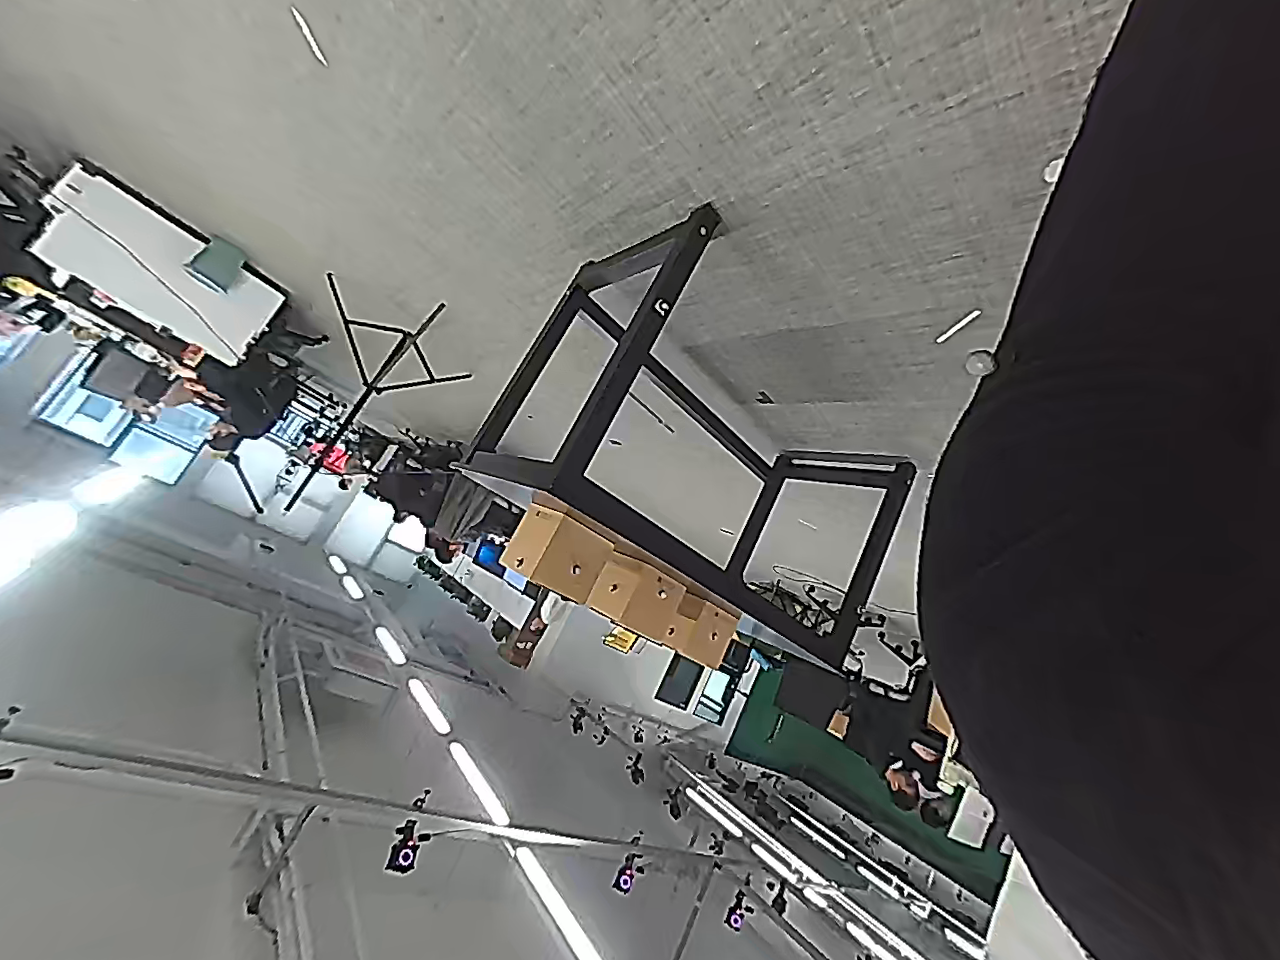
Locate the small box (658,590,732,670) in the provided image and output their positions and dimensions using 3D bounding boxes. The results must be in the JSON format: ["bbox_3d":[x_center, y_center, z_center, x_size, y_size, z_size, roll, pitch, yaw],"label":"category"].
[{"bbox_3d":[0.156,0.440,1.625,0.168,0.176,0.179,37,164,-34],"label":"small box"}]

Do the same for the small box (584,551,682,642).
[{"bbox_3d":[-0.016,0.310,1.470,0.168,0.176,0.179,36,164,-34],"label":"small box"}]

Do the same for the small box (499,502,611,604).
[{"bbox_3d":[-0.202,0.172,1.310,0.179,0.176,0.168,36,165,-37],"label":"small box"}]
